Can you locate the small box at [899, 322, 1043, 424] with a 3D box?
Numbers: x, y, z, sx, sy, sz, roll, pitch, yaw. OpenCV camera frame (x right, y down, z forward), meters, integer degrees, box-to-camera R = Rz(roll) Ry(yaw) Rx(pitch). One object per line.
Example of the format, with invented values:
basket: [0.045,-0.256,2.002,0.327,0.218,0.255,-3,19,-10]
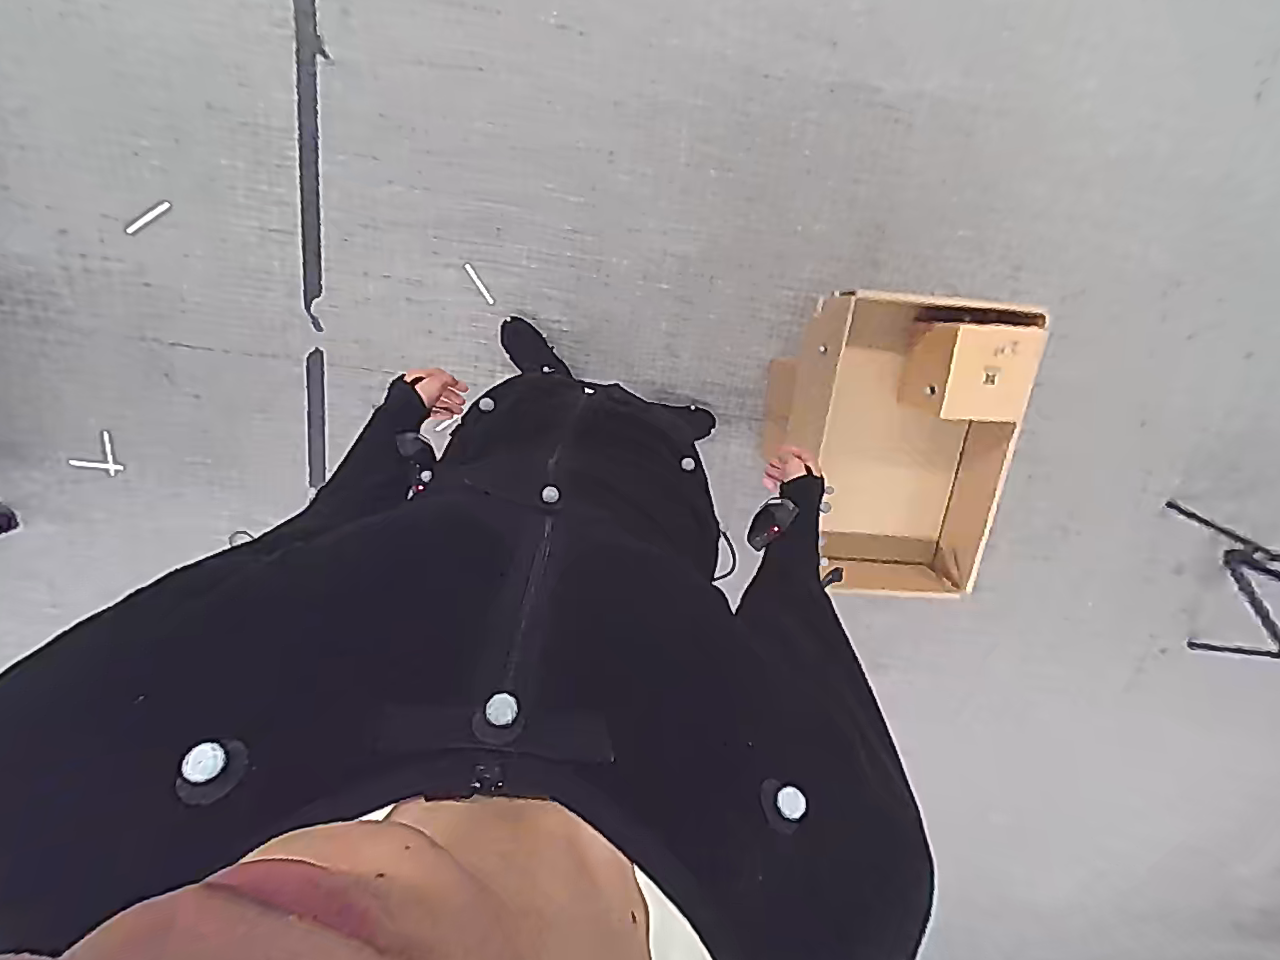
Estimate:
small box: [0.647,-0.219,1.084,0.168,0.176,0.179,2,108,-3]
